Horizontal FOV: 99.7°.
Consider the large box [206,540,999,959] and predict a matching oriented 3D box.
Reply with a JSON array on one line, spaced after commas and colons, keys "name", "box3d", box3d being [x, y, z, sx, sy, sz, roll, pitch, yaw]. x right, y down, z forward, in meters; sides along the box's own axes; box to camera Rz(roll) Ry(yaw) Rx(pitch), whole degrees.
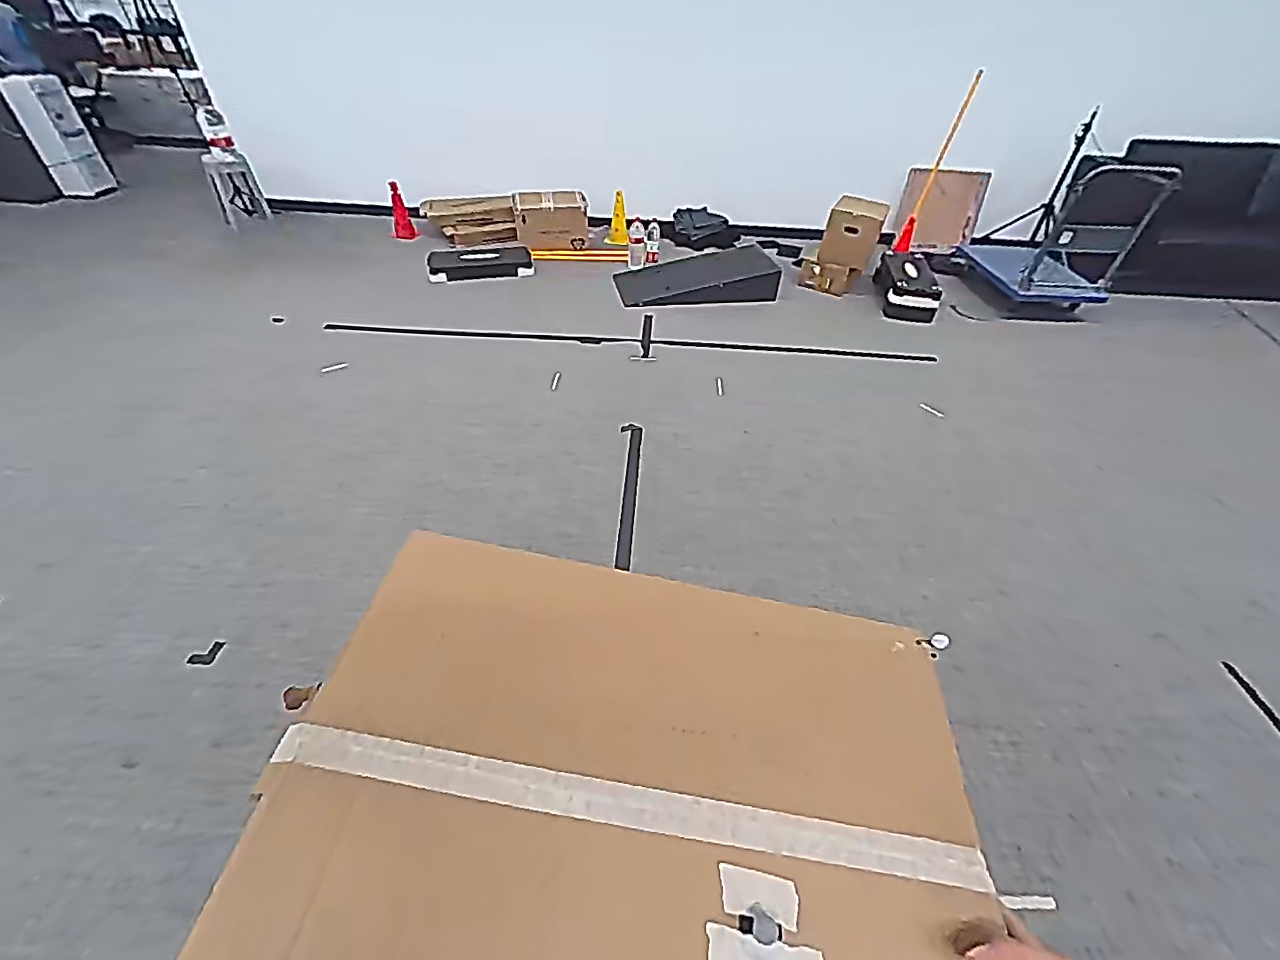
[{"name": "large box", "box3d": [-0.018, 0.292, 0.427, 0.408, 0.320, 0.320, 12, 47, -1]}]
